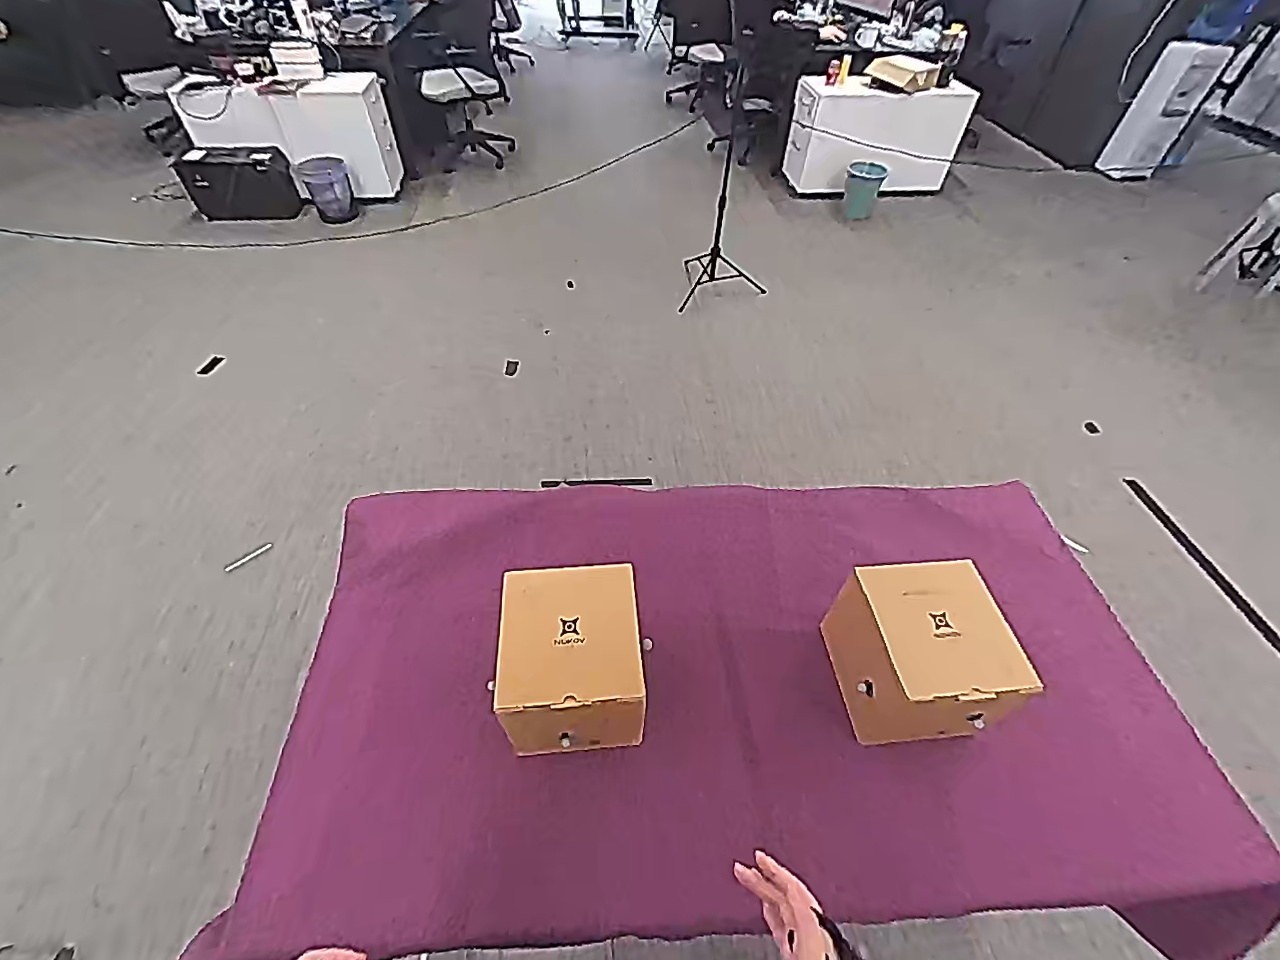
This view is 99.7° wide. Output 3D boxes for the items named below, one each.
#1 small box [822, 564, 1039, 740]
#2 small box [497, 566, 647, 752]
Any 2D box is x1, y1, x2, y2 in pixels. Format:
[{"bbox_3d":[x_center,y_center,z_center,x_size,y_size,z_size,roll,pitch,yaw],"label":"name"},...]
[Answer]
[{"bbox_3d":[0.364,0.233,0.719,0.168,0.176,0.179,-2,49,-5],"label":"small box"},{"bbox_3d":[-0.085,0.232,0.703,0.168,0.176,0.179,-3,50,-5],"label":"small box"}]
